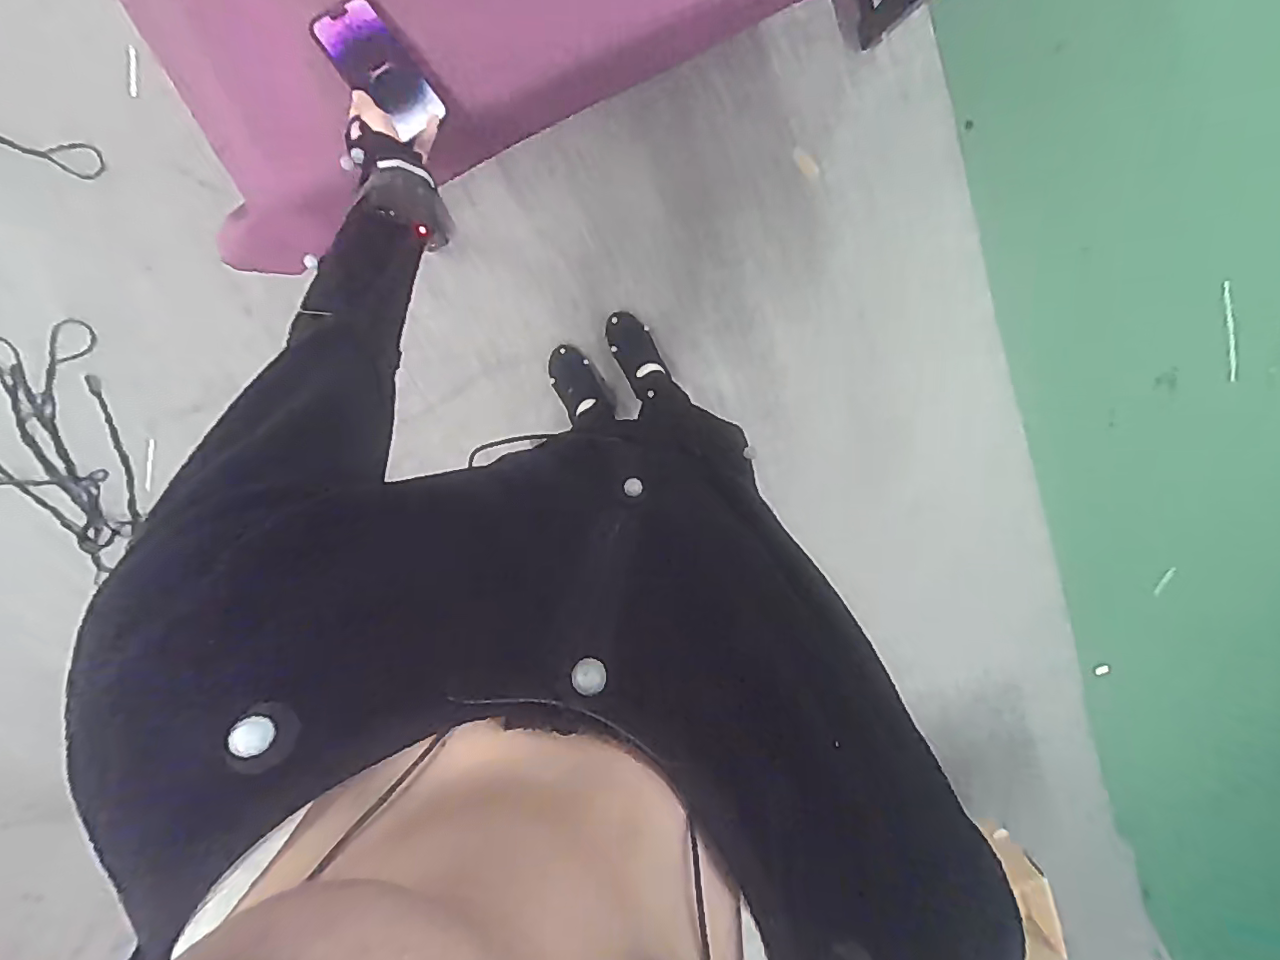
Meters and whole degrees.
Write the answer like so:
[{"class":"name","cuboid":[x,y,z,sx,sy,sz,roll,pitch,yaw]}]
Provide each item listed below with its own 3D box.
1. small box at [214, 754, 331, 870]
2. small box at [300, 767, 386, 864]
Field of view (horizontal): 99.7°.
[{"class":"small box","cuboid":[-0.961,0.875,1.438,0.179,0.176,0.168,-43,108,8]},{"class":"small box","cuboid":[-0.921,1.017,1.659,0.168,0.176,0.179,-26,109,3]}]
